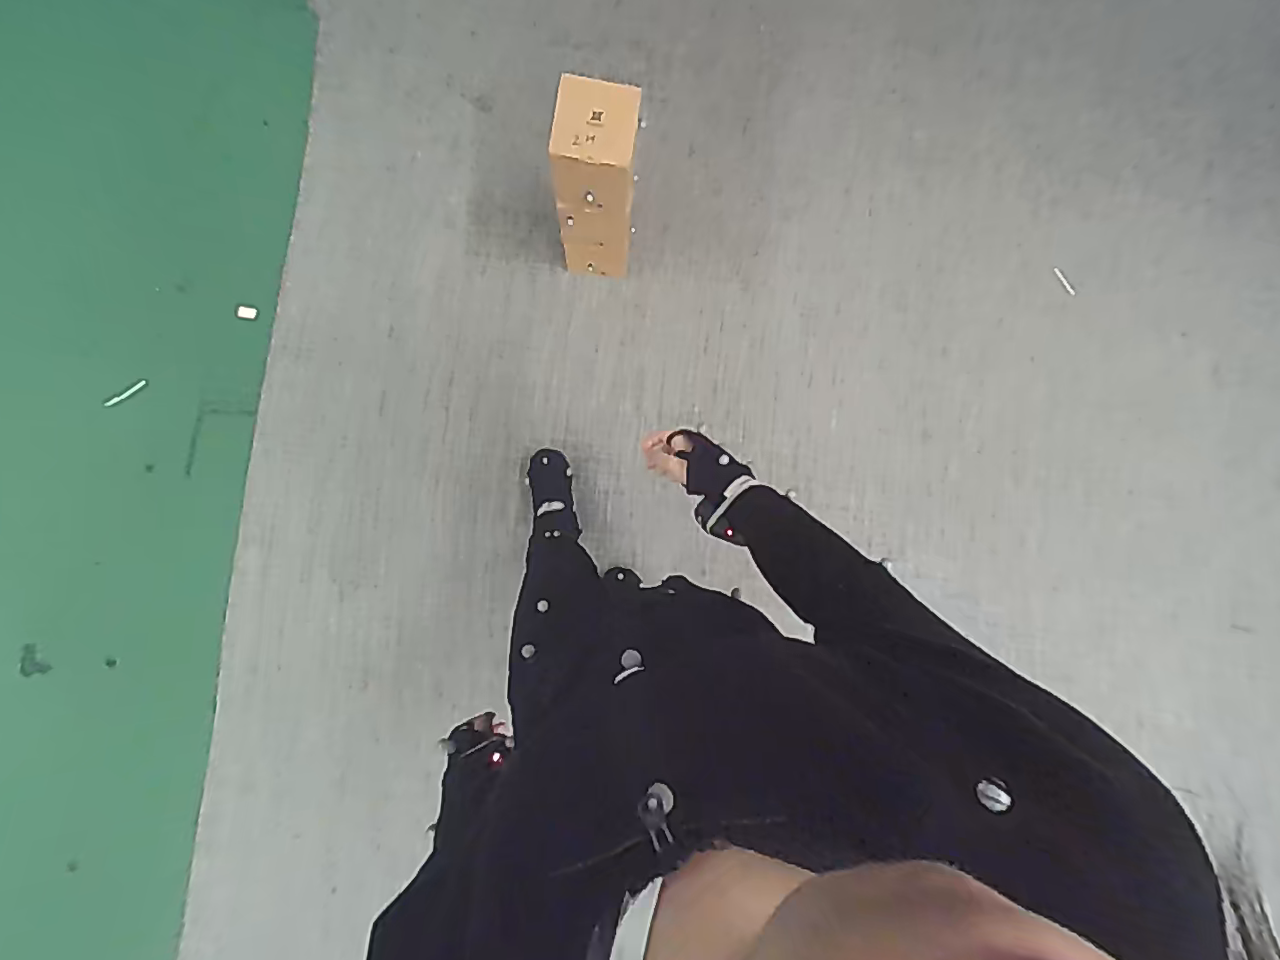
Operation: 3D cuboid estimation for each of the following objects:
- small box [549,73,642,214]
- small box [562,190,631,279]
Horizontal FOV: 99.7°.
[{"bbox_3d":[-0.096,-0.712,1.160,0.168,0.176,0.179,9,85,-3],"label":"small box"},{"bbox_3d":[-0.121,-0.683,1.487,0.168,0.176,0.179,5,85,-4],"label":"small box"}]
